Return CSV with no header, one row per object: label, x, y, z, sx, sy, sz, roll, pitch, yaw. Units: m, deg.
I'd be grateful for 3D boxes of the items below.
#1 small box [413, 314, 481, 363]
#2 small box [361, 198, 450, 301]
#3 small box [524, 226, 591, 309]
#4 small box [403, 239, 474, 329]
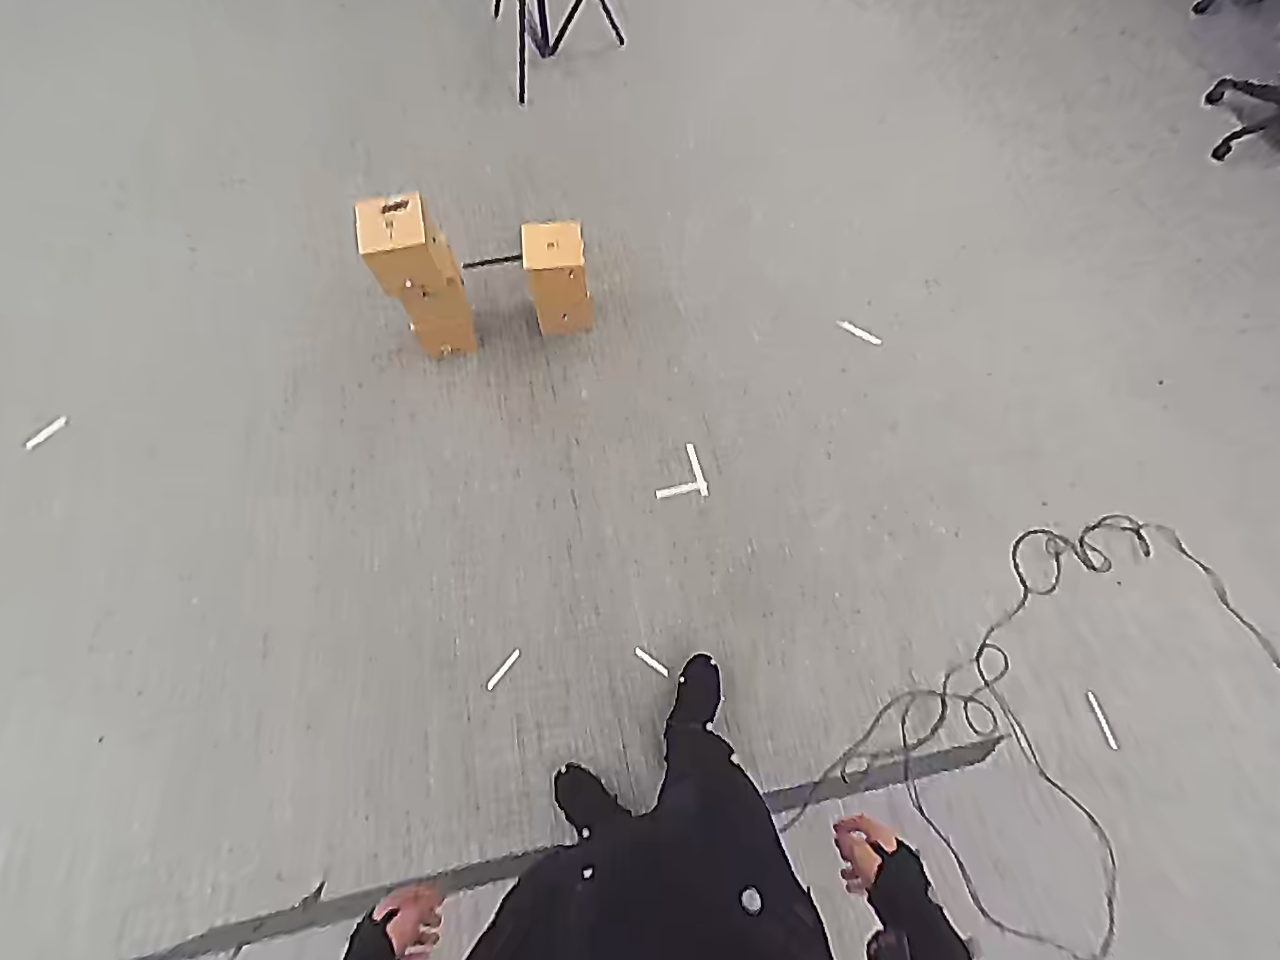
small box,-0.628,-0.507,1.749,0.168,0.176,0.179,-15,70,-7
small box,-0.618,-0.608,1.436,0.168,0.176,0.179,-13,70,-5
small box,-0.246,-0.636,1.635,0.179,0.176,0.168,-6,69,-4
small box,-0.612,-0.573,1.599,0.179,0.176,0.168,-16,70,-7
